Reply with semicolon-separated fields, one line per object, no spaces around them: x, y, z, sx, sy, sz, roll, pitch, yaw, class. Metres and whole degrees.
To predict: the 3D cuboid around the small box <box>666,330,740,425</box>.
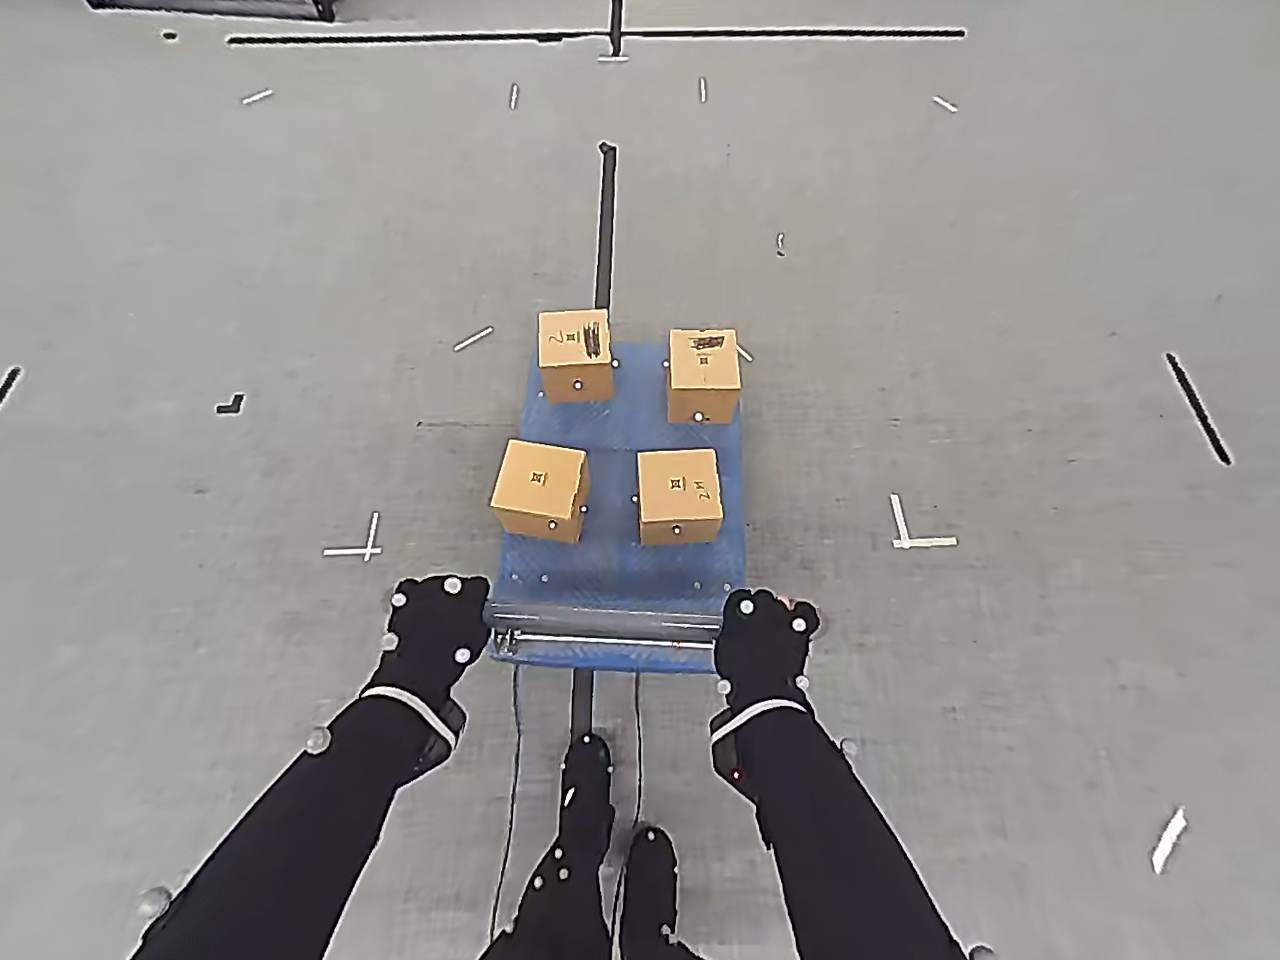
0.154;-0.257;1.370;0.168;0.176;0.179;0;67;0;small box

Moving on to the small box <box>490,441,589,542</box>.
-0.221;0.033;1.238;0.179;0.176;0.168;9;65;2;small box

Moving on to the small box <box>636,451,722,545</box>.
0.083;0.046;1.234;0.179;0.176;0.168;-2;66;-2;small box
